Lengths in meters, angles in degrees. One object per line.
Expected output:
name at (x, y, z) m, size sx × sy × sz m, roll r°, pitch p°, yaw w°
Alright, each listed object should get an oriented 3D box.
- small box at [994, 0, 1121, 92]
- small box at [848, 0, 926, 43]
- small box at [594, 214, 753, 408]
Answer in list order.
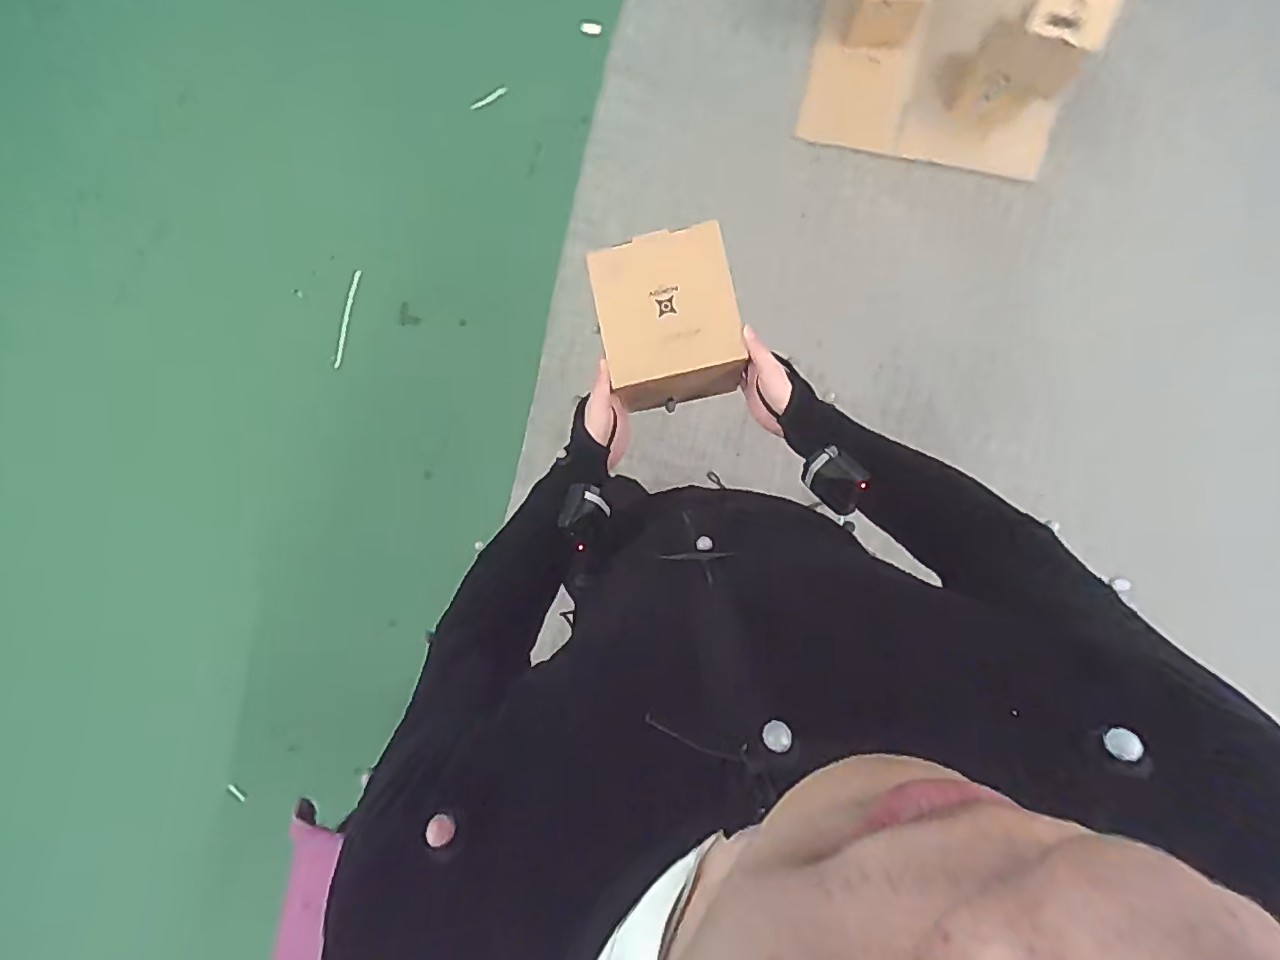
small box at (0.966, -1.055, 1.252) m, size 0.168 × 0.176 × 0.179 m, roll 23°, pitch 92°, yaw 5°
small box at (0.670, -1.327, 1.447) m, size 0.168 × 0.176 × 0.179 m, roll 6°, pitch 91°, yaw 6°
small box at (0.043, -0.208, 0.710) m, size 0.168 × 0.176 × 0.179 m, roll -10°, pitch 85°, yaw 5°
